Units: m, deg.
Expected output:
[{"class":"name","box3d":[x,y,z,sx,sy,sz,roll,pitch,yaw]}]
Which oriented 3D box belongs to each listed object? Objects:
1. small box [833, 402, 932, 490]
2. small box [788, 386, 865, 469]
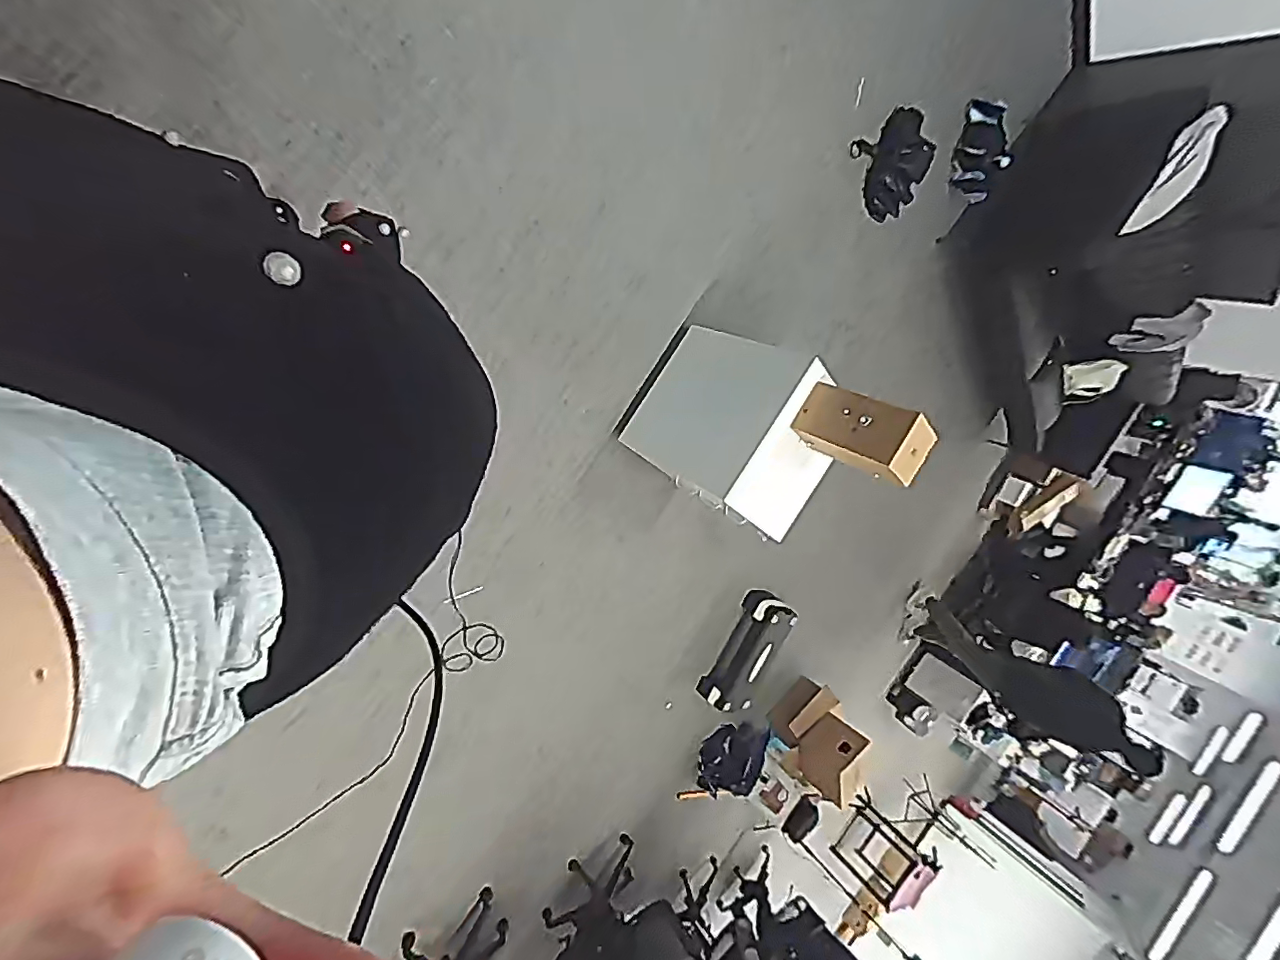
[{"class":"small box","box3d":[0.676,-0.098,1.513,0.179,0.176,0.168,27,94,-44]},{"class":"small box","box3d":[0.581,-0.162,1.629,0.179,0.176,0.168,30,93,-46]}]
